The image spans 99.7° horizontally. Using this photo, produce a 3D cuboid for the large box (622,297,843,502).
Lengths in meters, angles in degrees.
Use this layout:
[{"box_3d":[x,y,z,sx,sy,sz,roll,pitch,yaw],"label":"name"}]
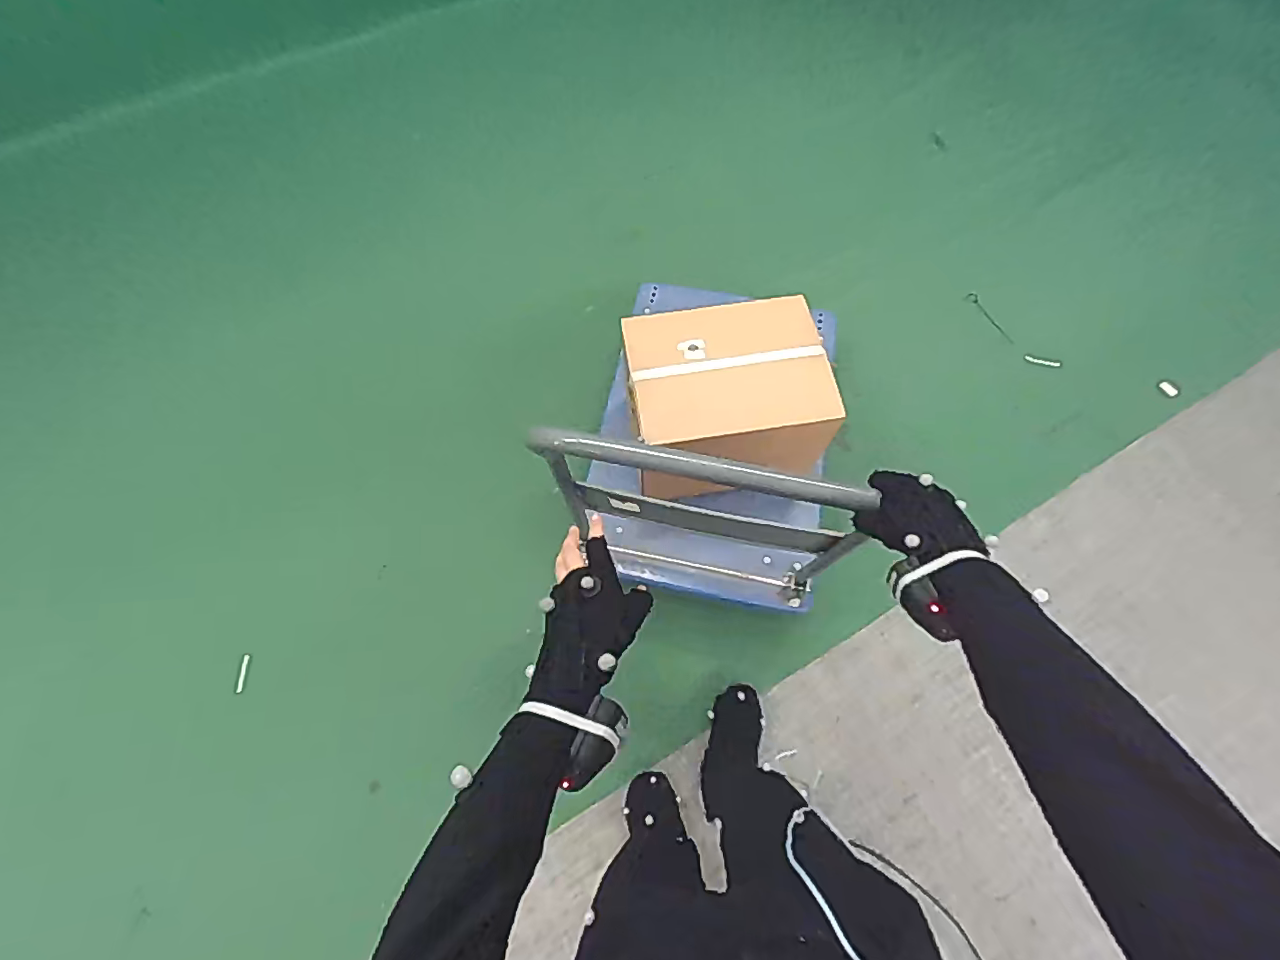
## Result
[{"box_3d":[0.185,-0.169,1.242,0.408,0.320,0.320,-9,67,-2],"label":"large box"}]
